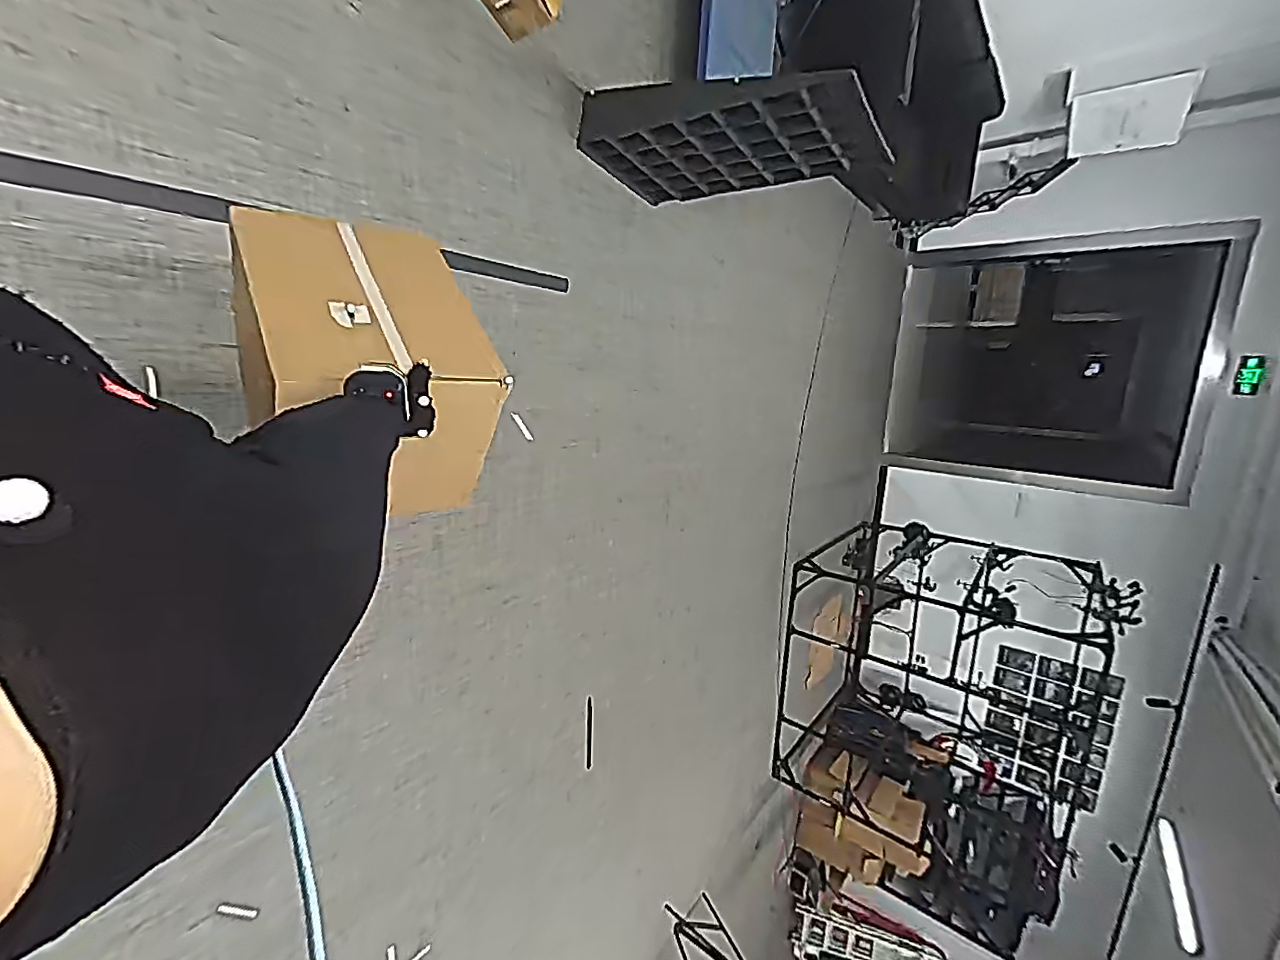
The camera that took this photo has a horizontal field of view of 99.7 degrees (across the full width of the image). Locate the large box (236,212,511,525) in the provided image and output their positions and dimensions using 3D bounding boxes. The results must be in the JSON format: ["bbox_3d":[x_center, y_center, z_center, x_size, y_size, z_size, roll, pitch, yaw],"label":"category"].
[{"bbox_3d":[-0.481,-0.186,0.943,0.320,0.408,0.320,-8,146,-39],"label":"large box"}]
